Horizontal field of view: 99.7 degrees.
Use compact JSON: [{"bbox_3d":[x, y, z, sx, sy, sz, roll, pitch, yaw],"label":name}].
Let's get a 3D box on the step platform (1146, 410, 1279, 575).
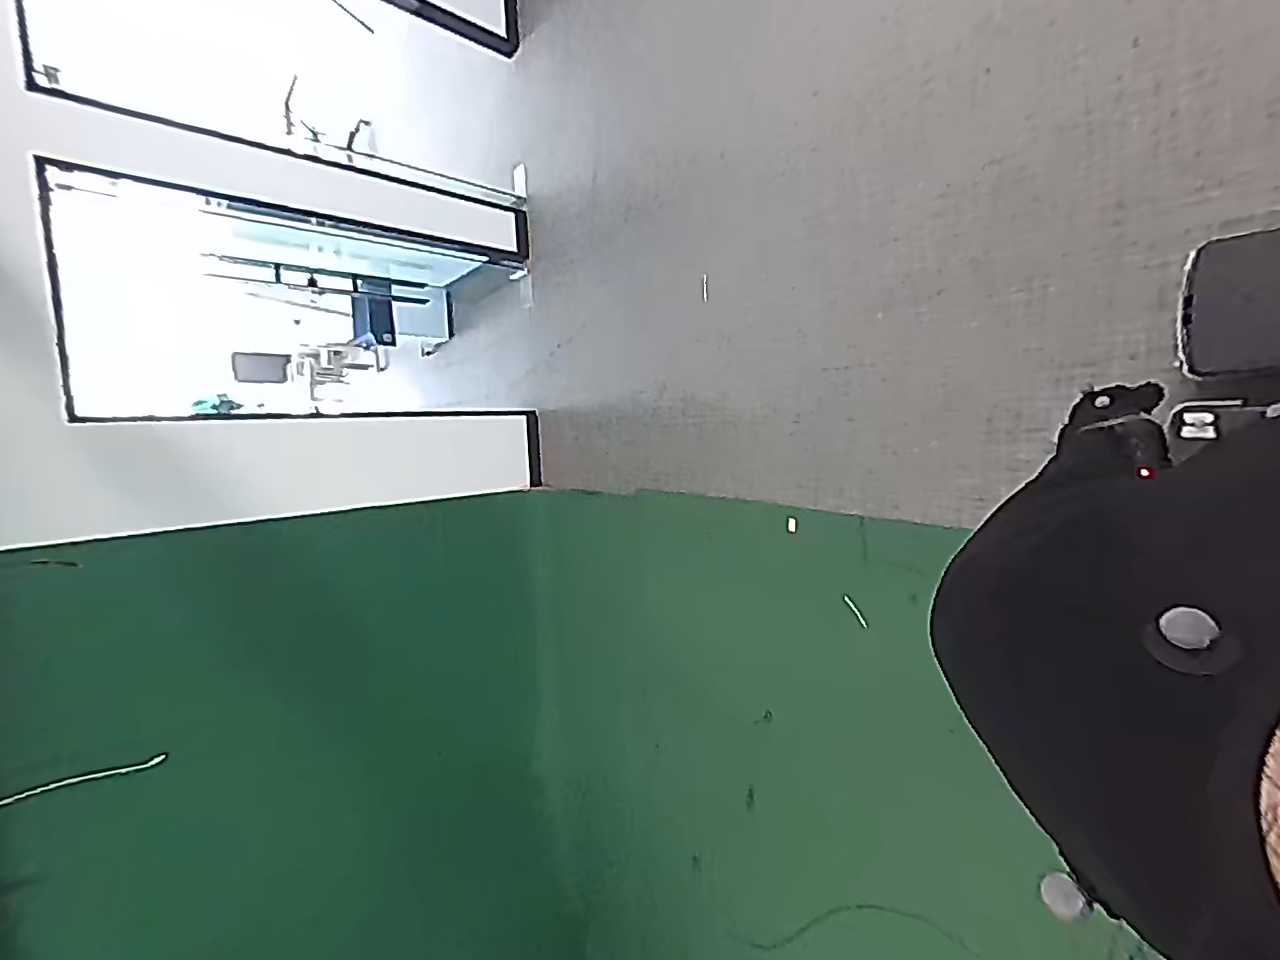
[{"bbox_3d":[1.215,0.030,0.787,0.684,0.204,0.286,4,98,48],"label":"step platform"}]
